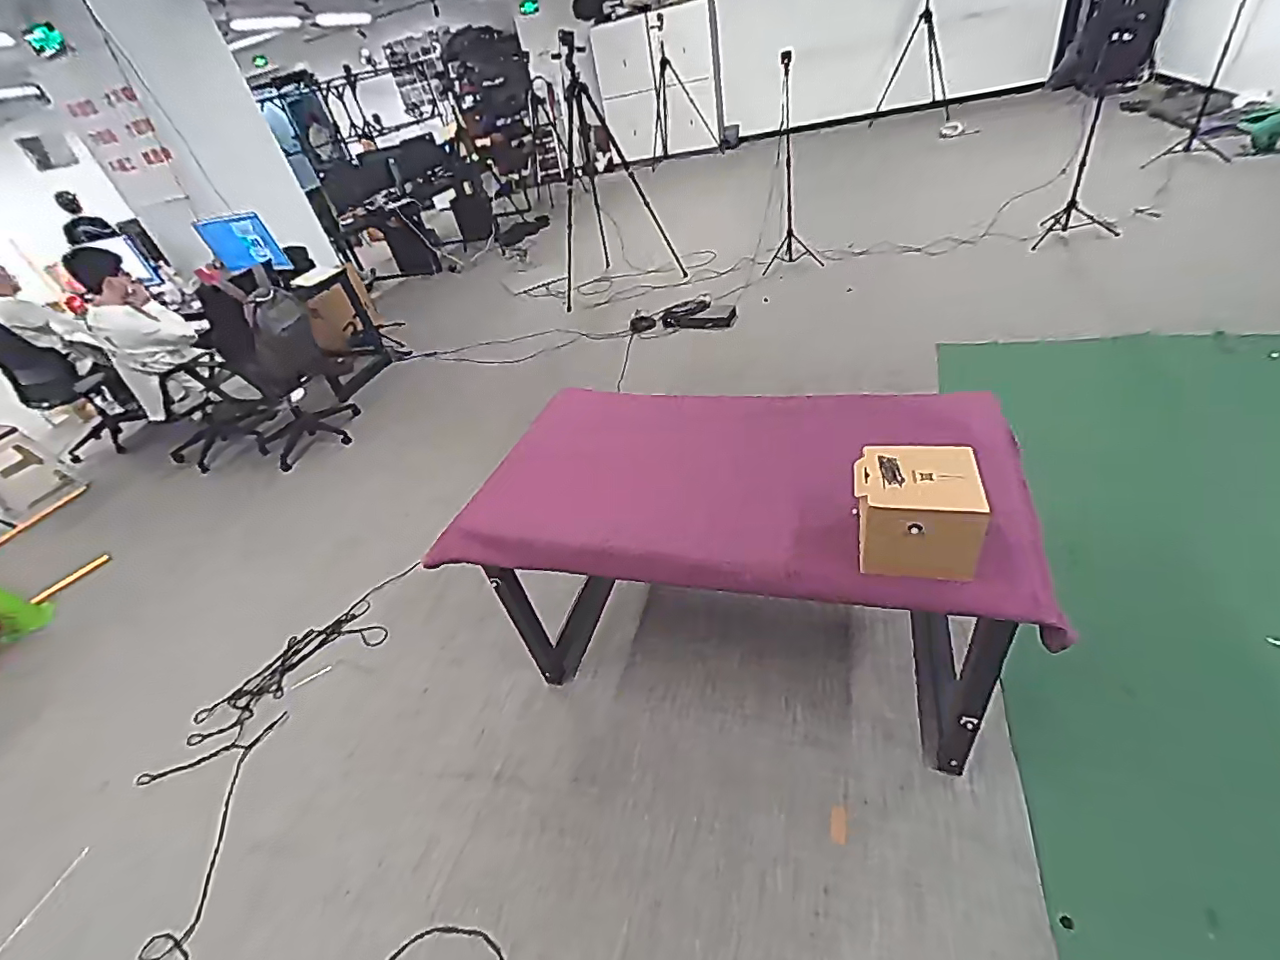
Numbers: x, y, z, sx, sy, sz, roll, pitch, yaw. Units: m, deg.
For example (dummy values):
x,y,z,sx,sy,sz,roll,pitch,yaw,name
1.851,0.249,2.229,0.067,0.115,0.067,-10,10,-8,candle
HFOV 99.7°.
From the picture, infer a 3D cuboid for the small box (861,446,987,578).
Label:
x,y,z,sx,sy,sz,roll,pitch,yaw,name
0.486,0.056,0.955,0.179,0.176,0.168,2,41,19,small box
